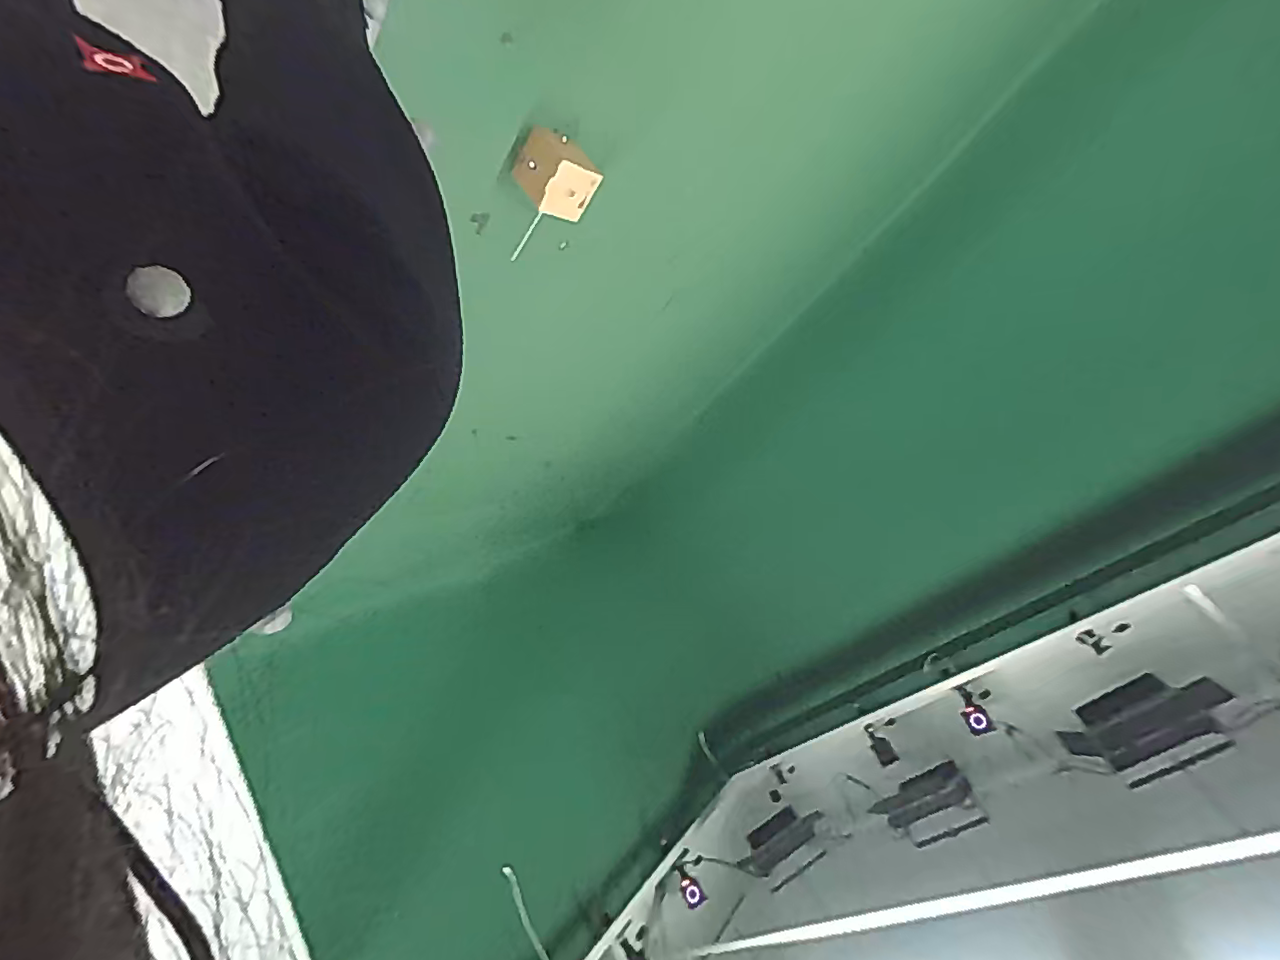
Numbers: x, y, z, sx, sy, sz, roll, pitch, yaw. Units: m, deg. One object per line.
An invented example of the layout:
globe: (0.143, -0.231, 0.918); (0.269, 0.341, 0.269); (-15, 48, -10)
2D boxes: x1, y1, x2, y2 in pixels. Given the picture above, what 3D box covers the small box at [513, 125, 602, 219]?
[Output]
small box: (-0.257, -0.944, 1.655); (0.179, 0.176, 0.168); (-12, 153, -51)
